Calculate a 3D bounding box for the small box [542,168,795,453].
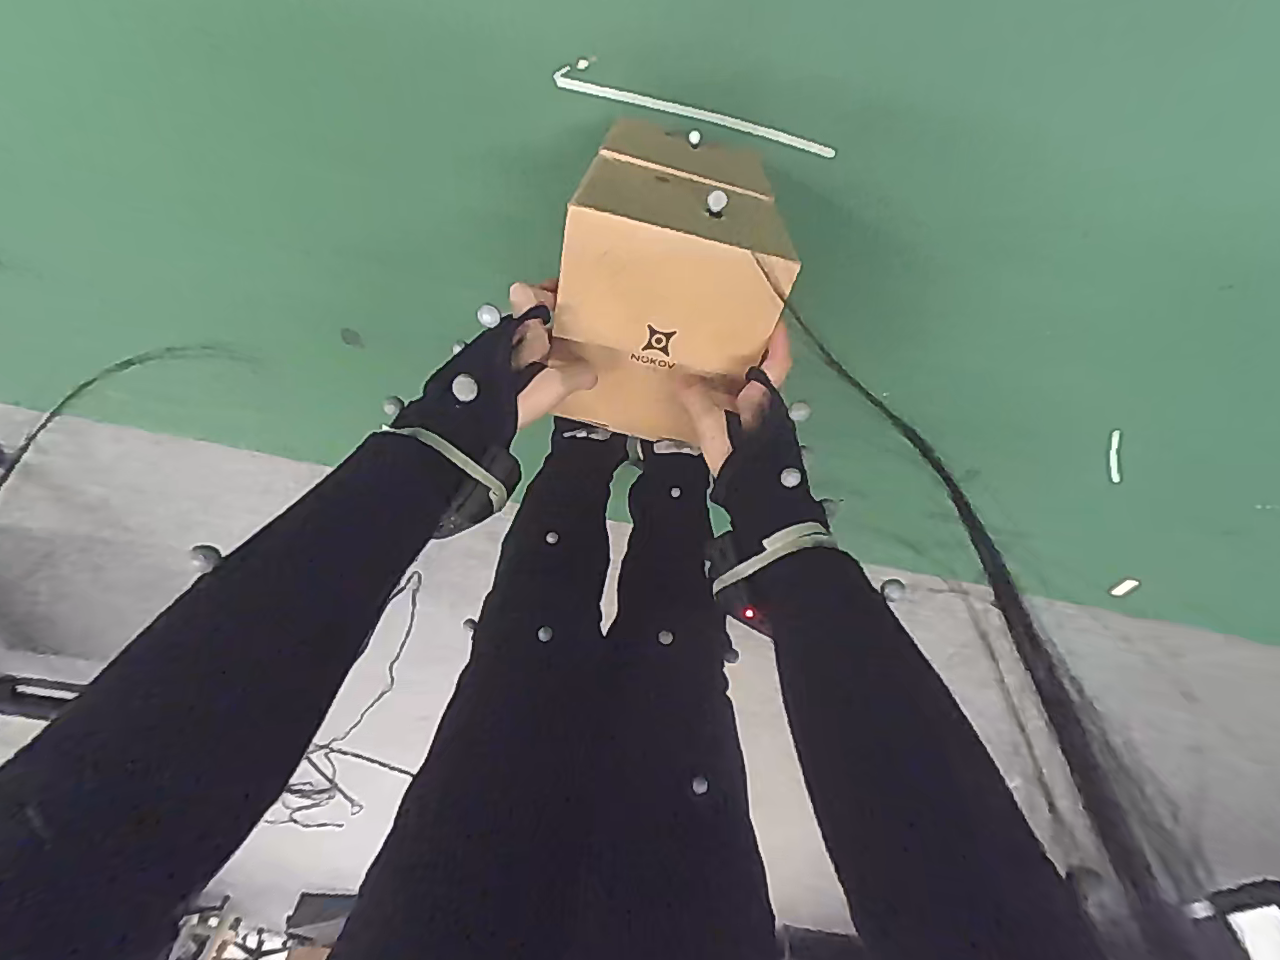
[{"bbox_3d":[0.016,-0.155,0.483,0.168,0.176,0.179,12,130,-5],"label":"small box"}]
